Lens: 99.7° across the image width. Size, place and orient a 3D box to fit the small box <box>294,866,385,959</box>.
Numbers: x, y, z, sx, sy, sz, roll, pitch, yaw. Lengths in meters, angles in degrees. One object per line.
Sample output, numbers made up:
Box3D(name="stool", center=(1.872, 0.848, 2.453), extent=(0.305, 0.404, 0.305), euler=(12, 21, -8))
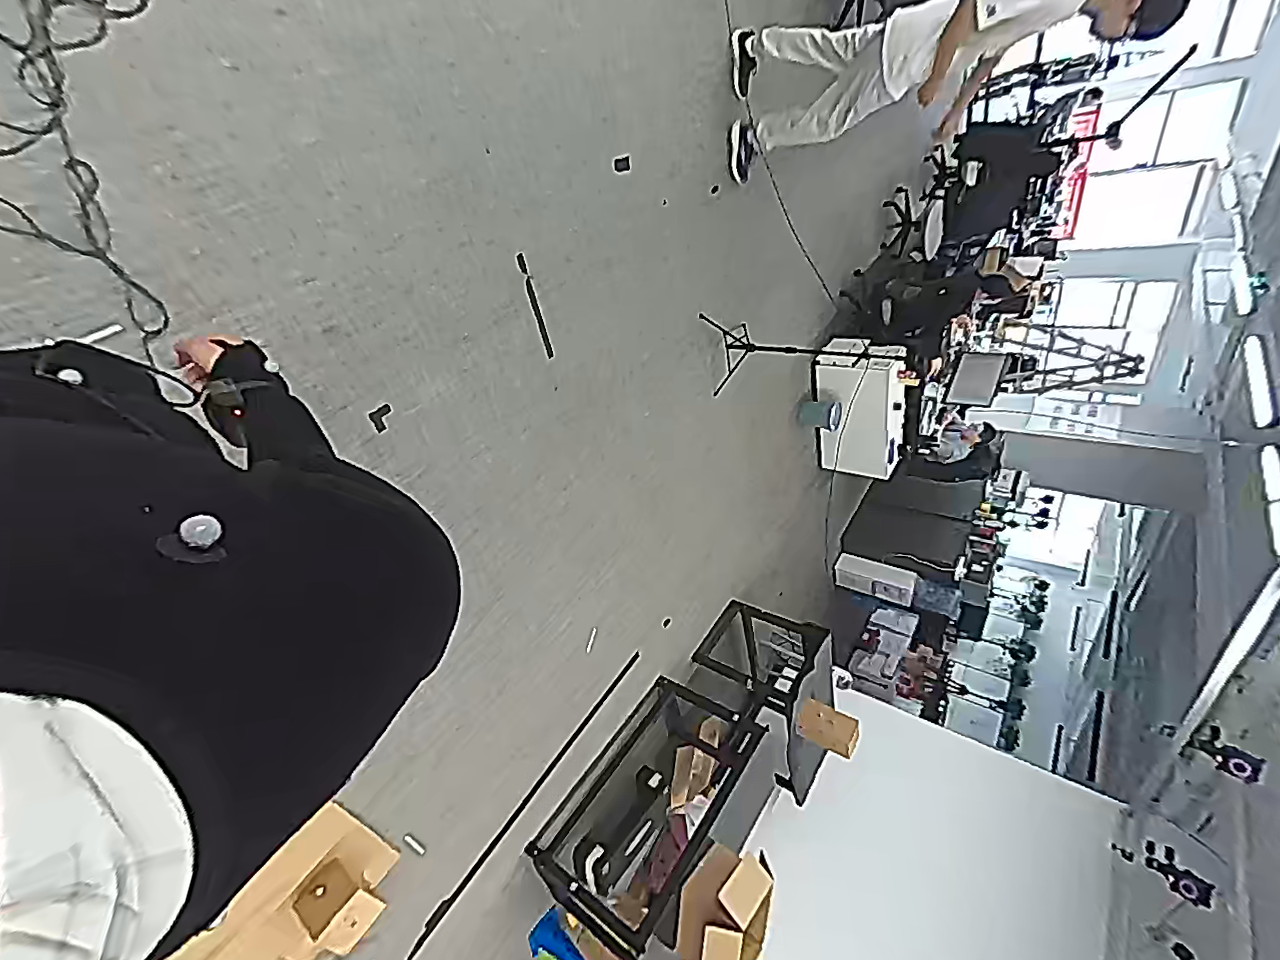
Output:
Box3D(name="small box", center=(-0.990, 1.424, 1.783), extent=(0.168, 0.176, 0.179), euler=(-47, 135, -35))
